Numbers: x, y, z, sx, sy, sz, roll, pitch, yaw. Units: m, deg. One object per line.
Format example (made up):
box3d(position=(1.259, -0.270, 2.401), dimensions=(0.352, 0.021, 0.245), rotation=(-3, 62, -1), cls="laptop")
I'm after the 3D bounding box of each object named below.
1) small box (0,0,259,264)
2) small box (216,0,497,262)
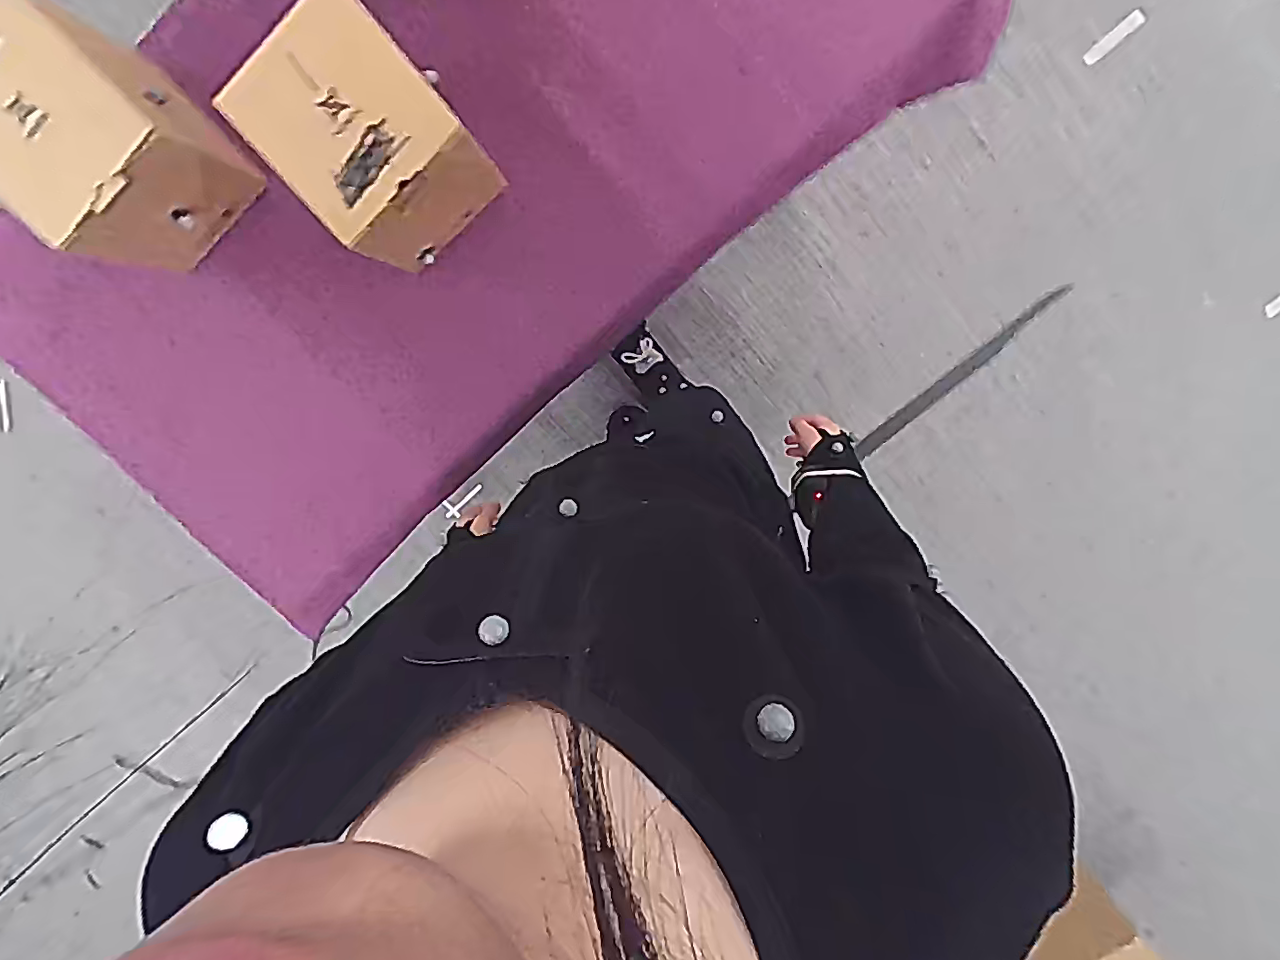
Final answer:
box3d(position=(-0.578, -0.359, 0.591), dimensions=(0.168, 0.176, 0.179), rotation=(-42, 101, 8), cls="small box")
box3d(position=(-0.285, -0.363, 0.591), dimensions=(0.168, 0.176, 0.179), rotation=(-40, 98, 8), cls="small box")
